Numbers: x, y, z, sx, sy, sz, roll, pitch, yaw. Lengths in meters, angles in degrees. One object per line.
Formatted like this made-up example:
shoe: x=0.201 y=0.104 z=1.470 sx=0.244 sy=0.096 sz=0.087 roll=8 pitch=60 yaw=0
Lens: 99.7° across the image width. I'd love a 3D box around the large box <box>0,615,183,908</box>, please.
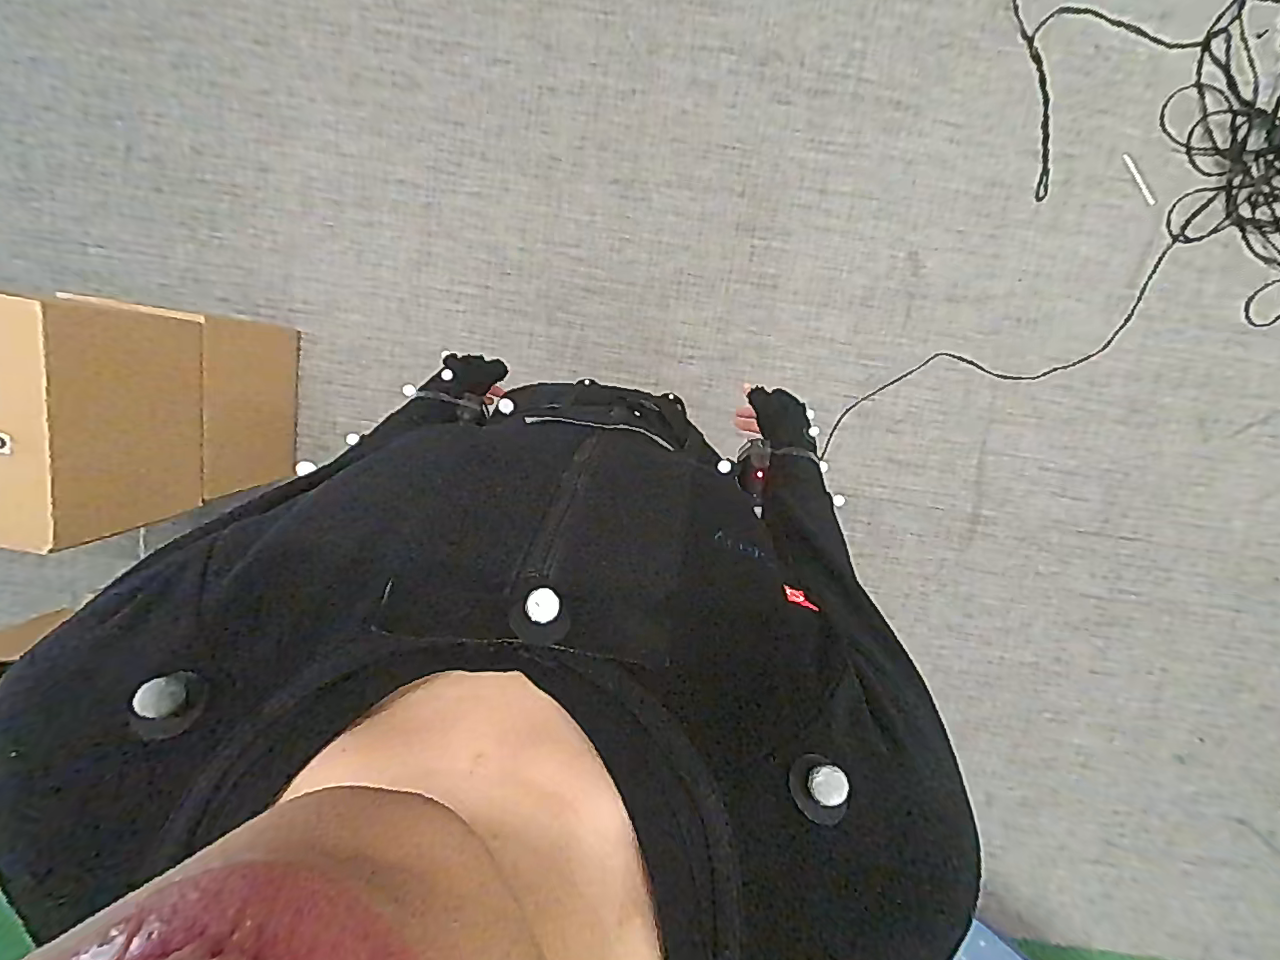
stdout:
large box: x=-1.219 y=0.546 z=1.113 sx=0.320 sy=0.320 sz=0.408 roll=10 pitch=99 yaw=3
